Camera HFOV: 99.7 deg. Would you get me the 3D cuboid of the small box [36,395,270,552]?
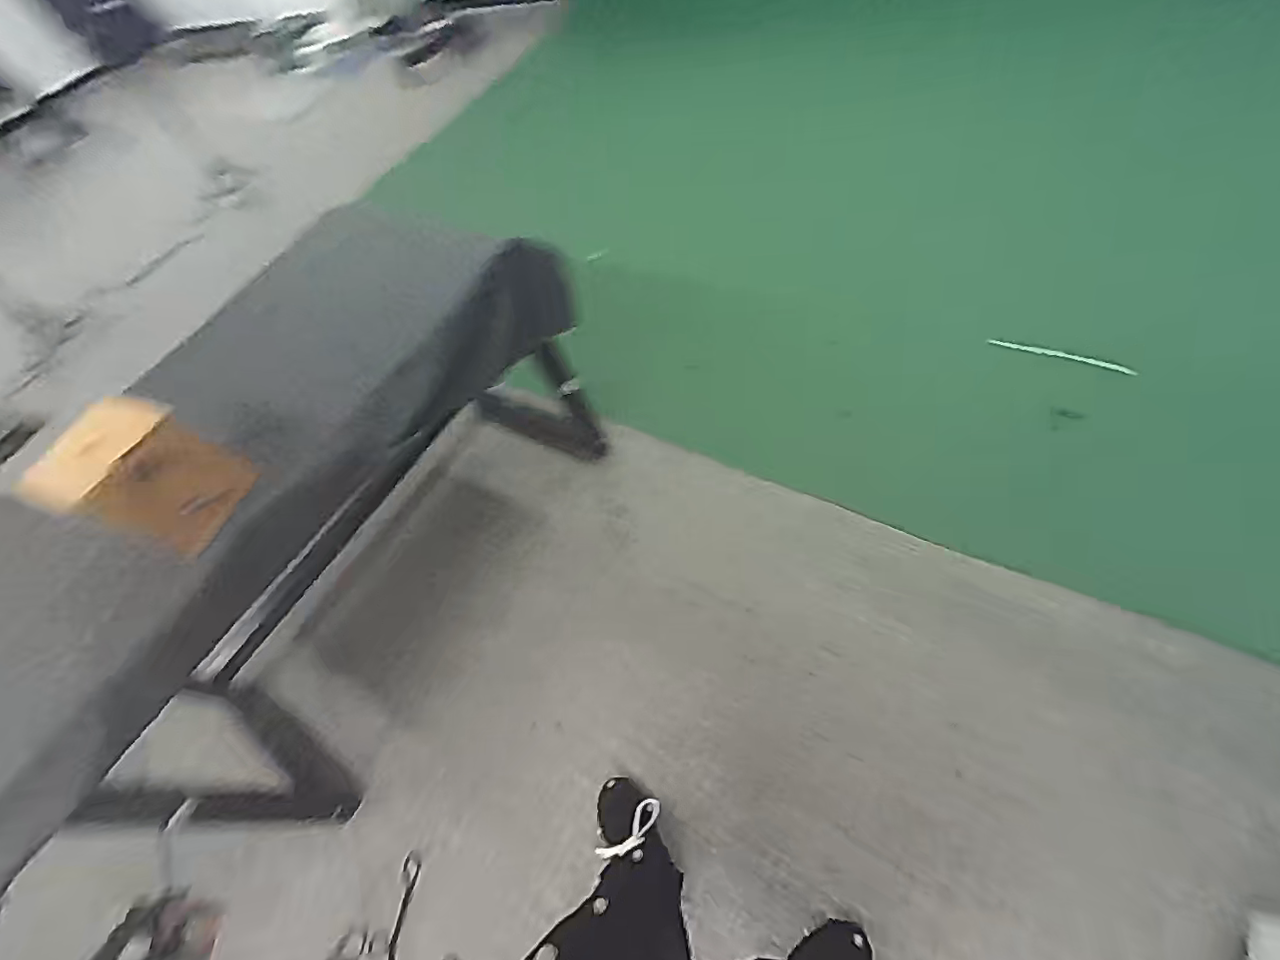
[{"bbox_3d":[-0.736,-0.008,0.835,0.179,0.176,0.168,12,62,24],"label":"small box"}]
